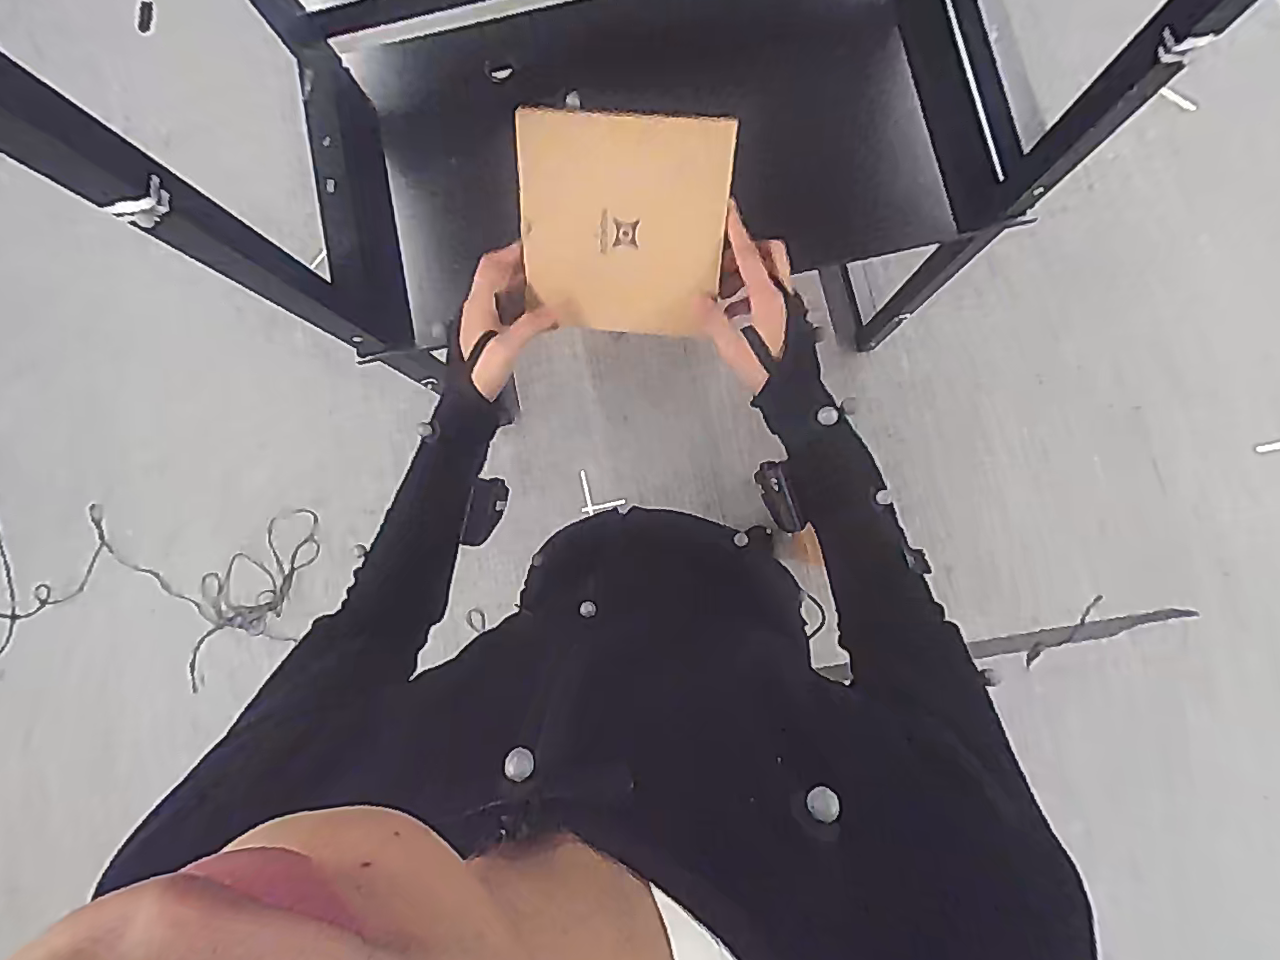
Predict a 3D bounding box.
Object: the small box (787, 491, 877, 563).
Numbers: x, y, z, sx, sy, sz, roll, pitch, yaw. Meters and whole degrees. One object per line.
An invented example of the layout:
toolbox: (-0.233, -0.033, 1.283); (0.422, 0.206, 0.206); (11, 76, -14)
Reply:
small box: (0.531, 0.129, 1.515); (0.179, 0.176, 0.168); (-13, 84, 3)
